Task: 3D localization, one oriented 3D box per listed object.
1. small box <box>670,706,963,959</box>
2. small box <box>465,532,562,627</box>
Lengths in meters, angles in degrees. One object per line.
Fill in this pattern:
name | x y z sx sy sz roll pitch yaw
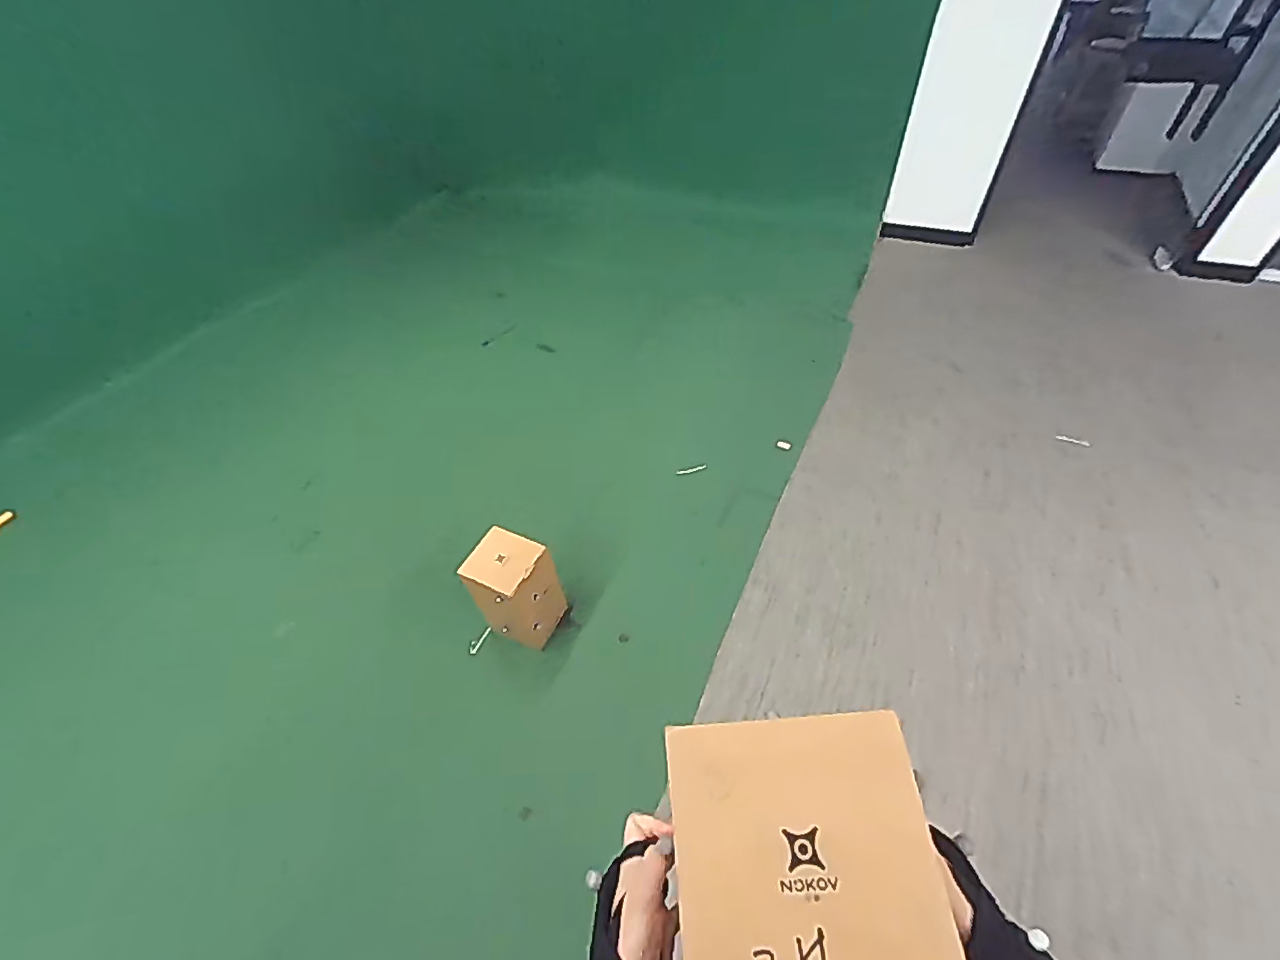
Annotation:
small box | 0.116 0.286 0.418 0.168 0.176 0.179 -8 60 5
small box | -0.337 0.275 1.473 0.179 0.176 0.168 17 53 21
